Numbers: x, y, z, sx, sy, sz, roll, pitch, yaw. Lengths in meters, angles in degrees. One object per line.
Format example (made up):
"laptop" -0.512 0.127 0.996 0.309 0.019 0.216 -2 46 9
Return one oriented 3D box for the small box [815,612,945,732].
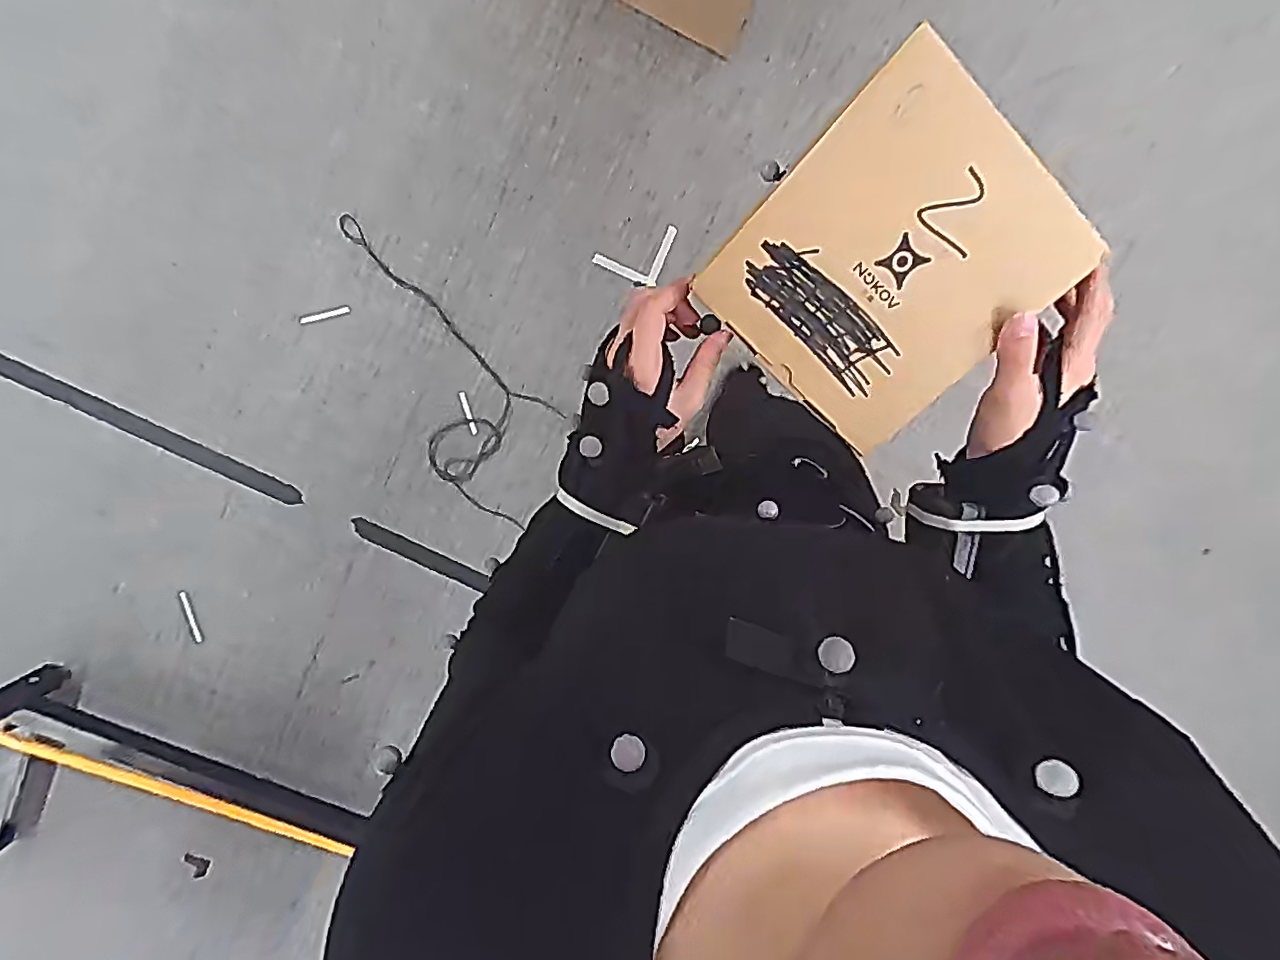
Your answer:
"small box" 0.529 0.422 1.217 0.179 0.176 0.168 24 98 -5
